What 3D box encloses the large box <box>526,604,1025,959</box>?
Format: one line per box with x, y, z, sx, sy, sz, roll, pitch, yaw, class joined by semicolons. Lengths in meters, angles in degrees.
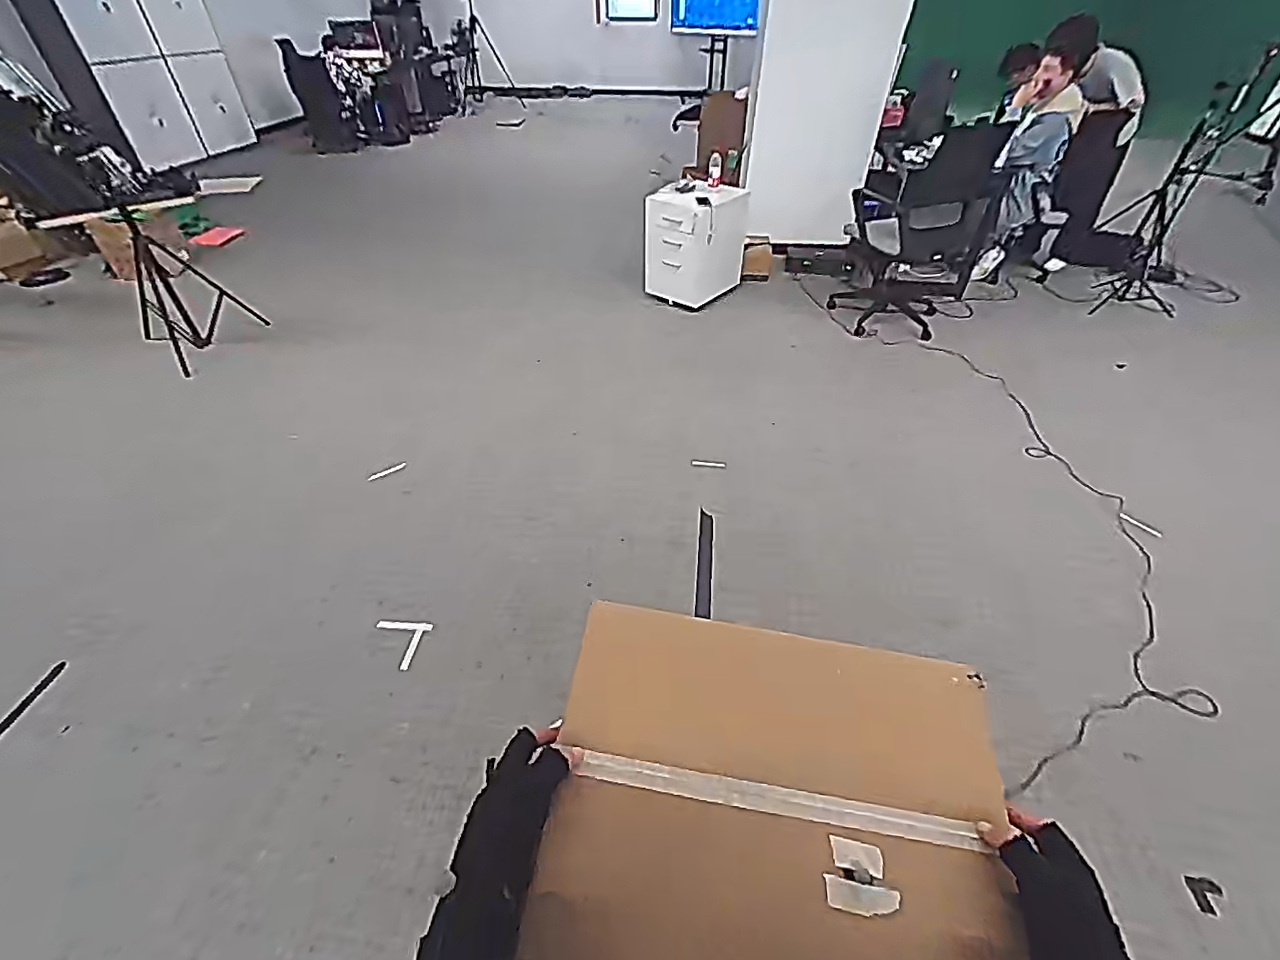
0.118;0.372;0.615;0.408;0.320;0.320;9;53;3;large box
